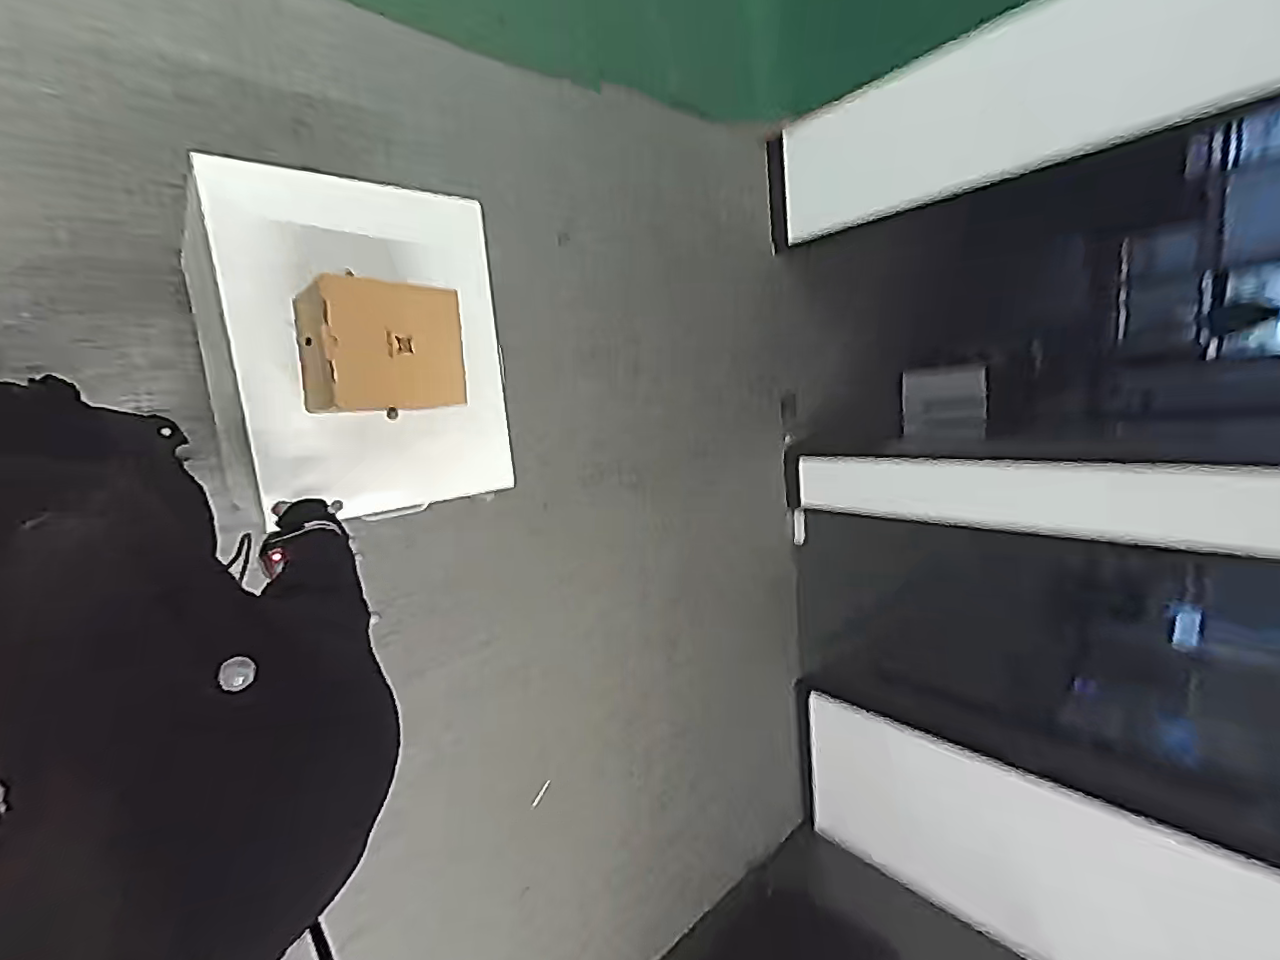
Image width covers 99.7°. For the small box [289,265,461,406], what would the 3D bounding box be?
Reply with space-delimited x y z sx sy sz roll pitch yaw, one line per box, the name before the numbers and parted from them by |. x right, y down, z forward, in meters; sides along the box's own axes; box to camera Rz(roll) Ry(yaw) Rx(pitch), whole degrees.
small box | -0.379 -0.193 0.775 0.179 0.176 0.168 -8 99 -42
